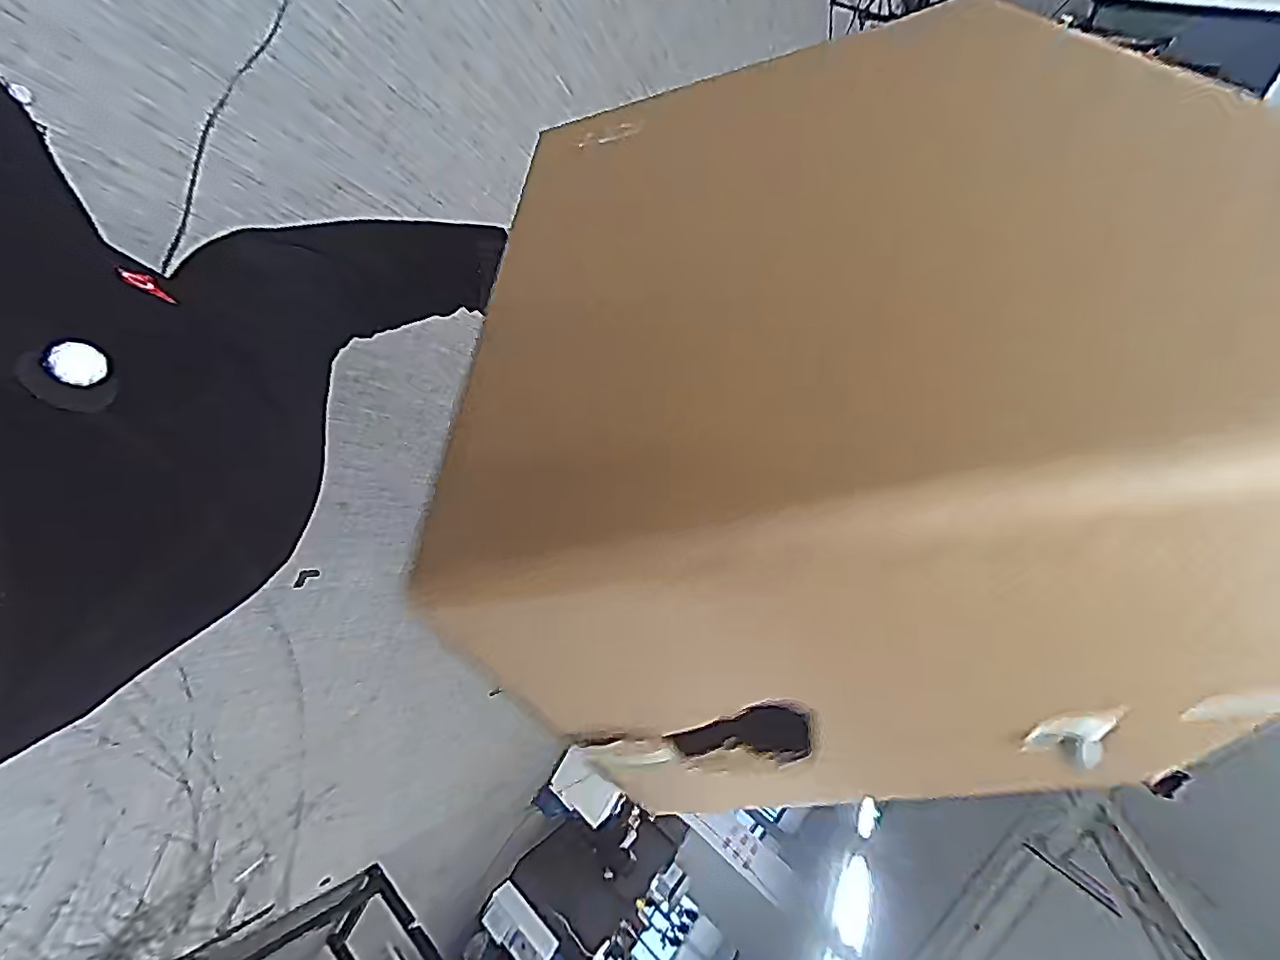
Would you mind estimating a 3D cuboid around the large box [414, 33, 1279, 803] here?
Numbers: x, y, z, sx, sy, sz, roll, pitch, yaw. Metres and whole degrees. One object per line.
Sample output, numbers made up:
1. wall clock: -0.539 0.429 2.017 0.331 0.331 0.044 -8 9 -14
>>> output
1. large box: 0.111 -0.046 0.375 0.320 0.320 0.408 71 13 -46
